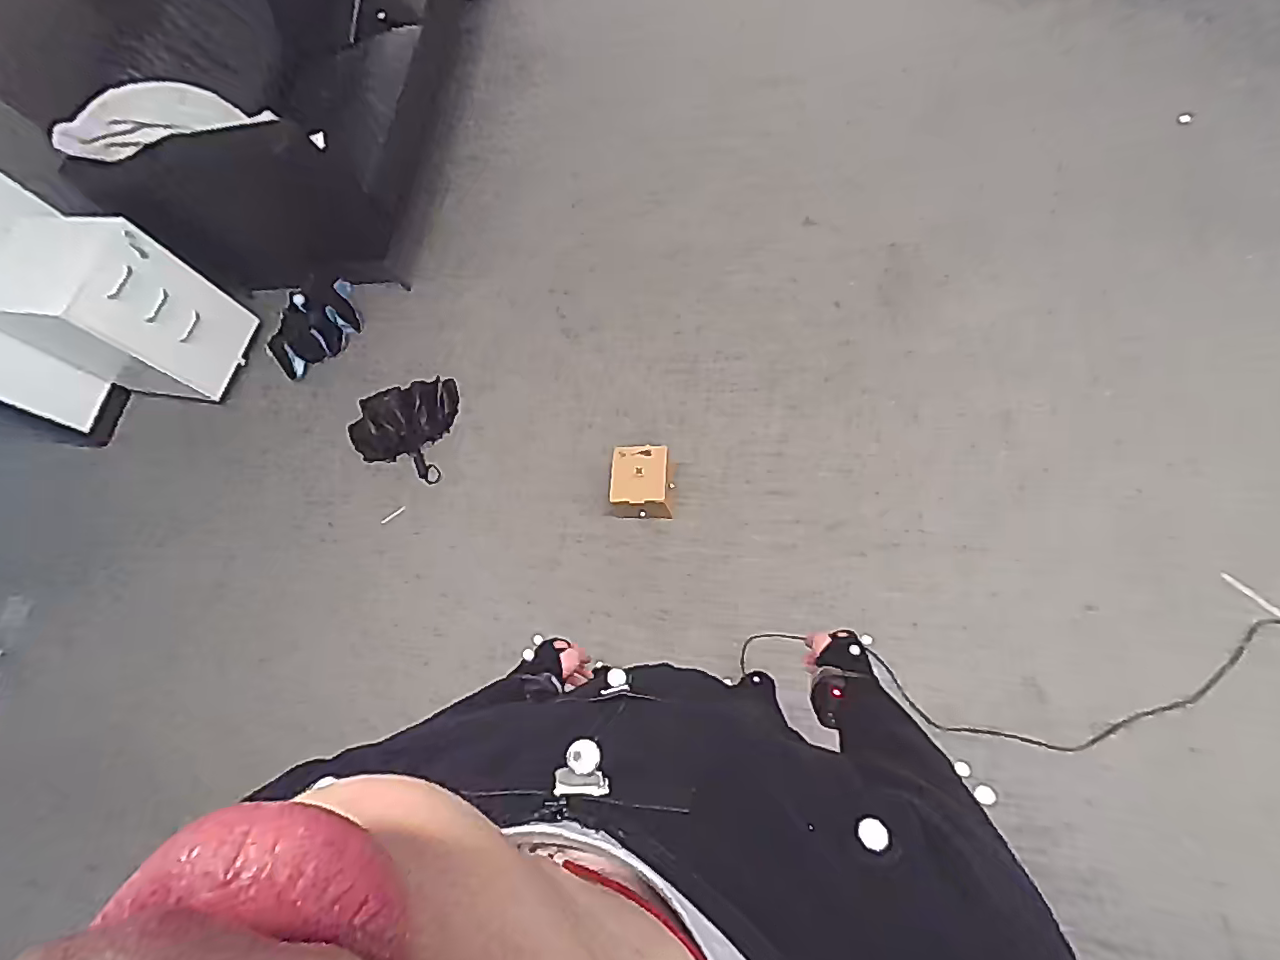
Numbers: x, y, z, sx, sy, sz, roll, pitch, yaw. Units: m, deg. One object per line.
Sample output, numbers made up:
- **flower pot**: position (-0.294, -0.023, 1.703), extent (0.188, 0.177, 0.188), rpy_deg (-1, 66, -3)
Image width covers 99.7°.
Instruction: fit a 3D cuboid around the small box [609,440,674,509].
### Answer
- **small box**: position (0.010, -0.011, 1.658), extent (0.168, 0.176, 0.179), rpy_deg (-1, 72, 13)
